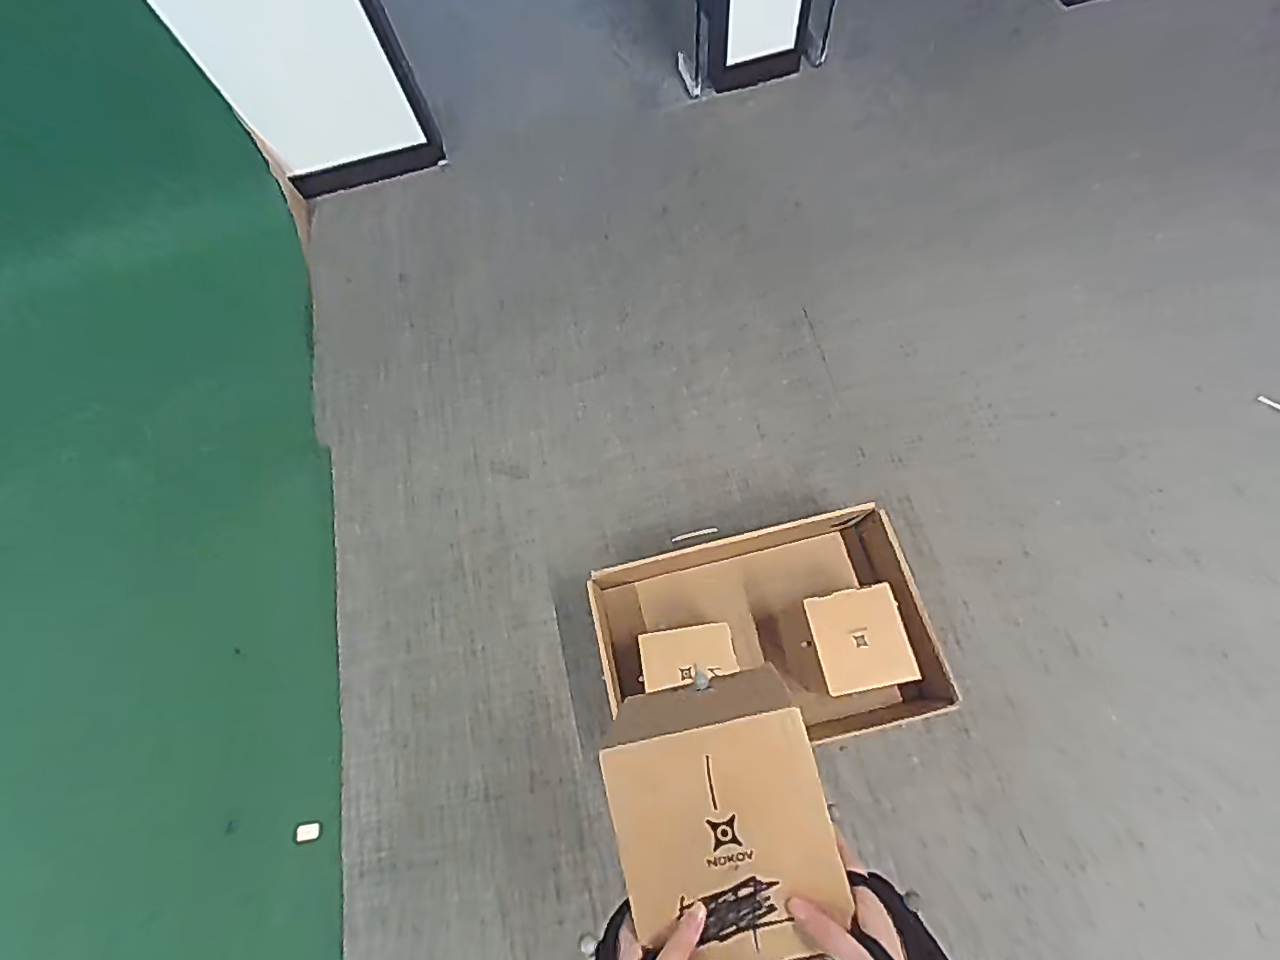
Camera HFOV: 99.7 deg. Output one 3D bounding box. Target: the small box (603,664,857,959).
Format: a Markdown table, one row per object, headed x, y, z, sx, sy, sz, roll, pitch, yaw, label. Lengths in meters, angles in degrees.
| x | y | z | sx | sy | sz | roll | pitch | yaw | label |
| --- | --- | --- | --- | --- | --- | --- | --- | --- | --- |
| 0.076 | 0.289 | 0.501 | 0.168 | 0.176 | 0.179 | -14 | 80 | 4 | small box |
